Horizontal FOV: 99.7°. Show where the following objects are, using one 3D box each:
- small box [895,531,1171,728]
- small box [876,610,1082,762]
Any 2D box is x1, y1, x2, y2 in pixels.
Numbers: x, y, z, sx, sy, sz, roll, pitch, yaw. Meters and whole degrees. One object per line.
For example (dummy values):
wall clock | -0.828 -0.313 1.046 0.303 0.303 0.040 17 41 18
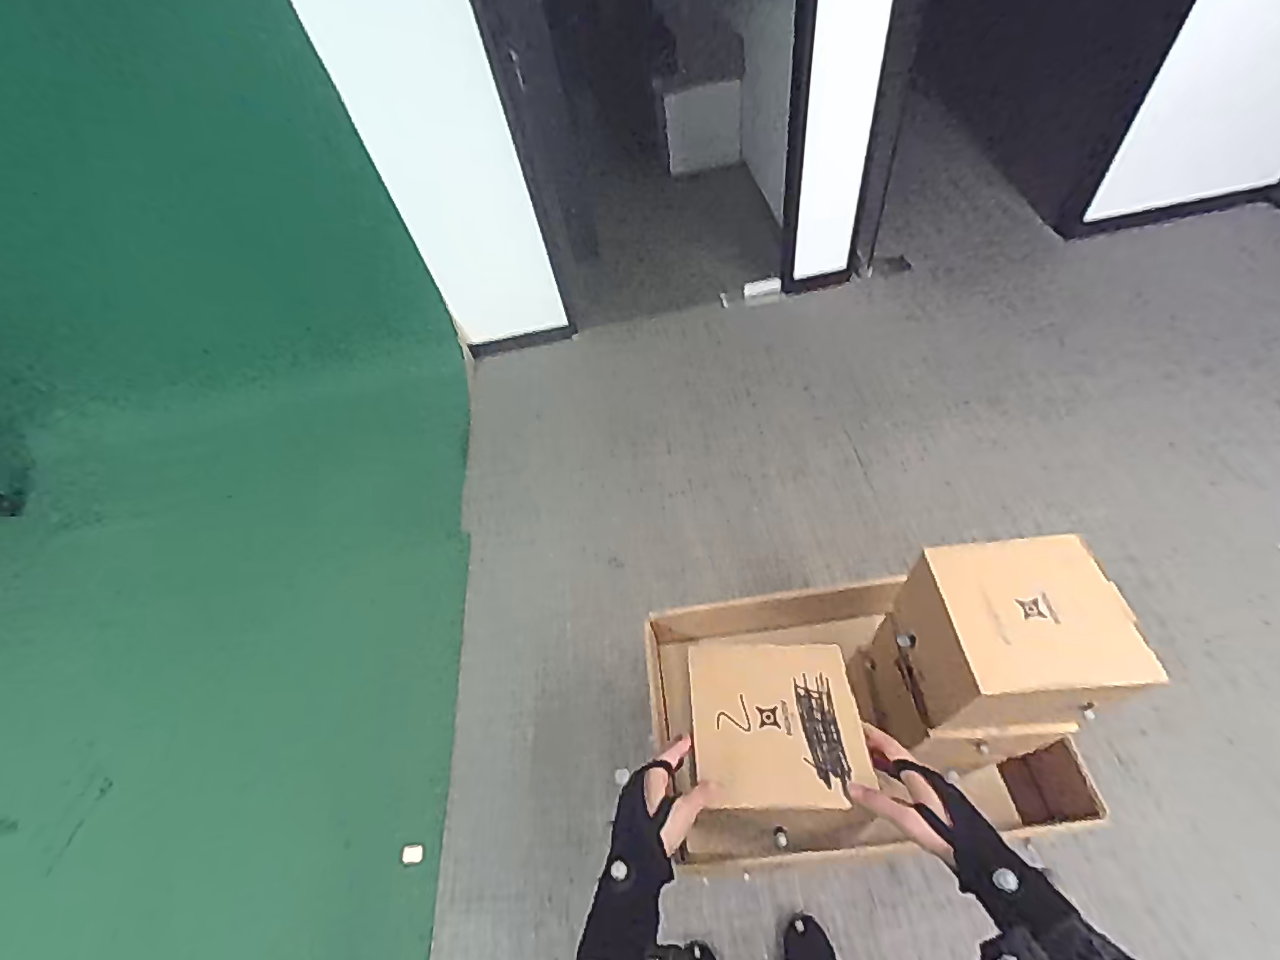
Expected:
small box | 0.421 0.177 0.622 0.179 0.176 0.168 -7 52 6
small box | 0.440 0.282 0.746 0.179 0.176 0.168 -6 53 6
